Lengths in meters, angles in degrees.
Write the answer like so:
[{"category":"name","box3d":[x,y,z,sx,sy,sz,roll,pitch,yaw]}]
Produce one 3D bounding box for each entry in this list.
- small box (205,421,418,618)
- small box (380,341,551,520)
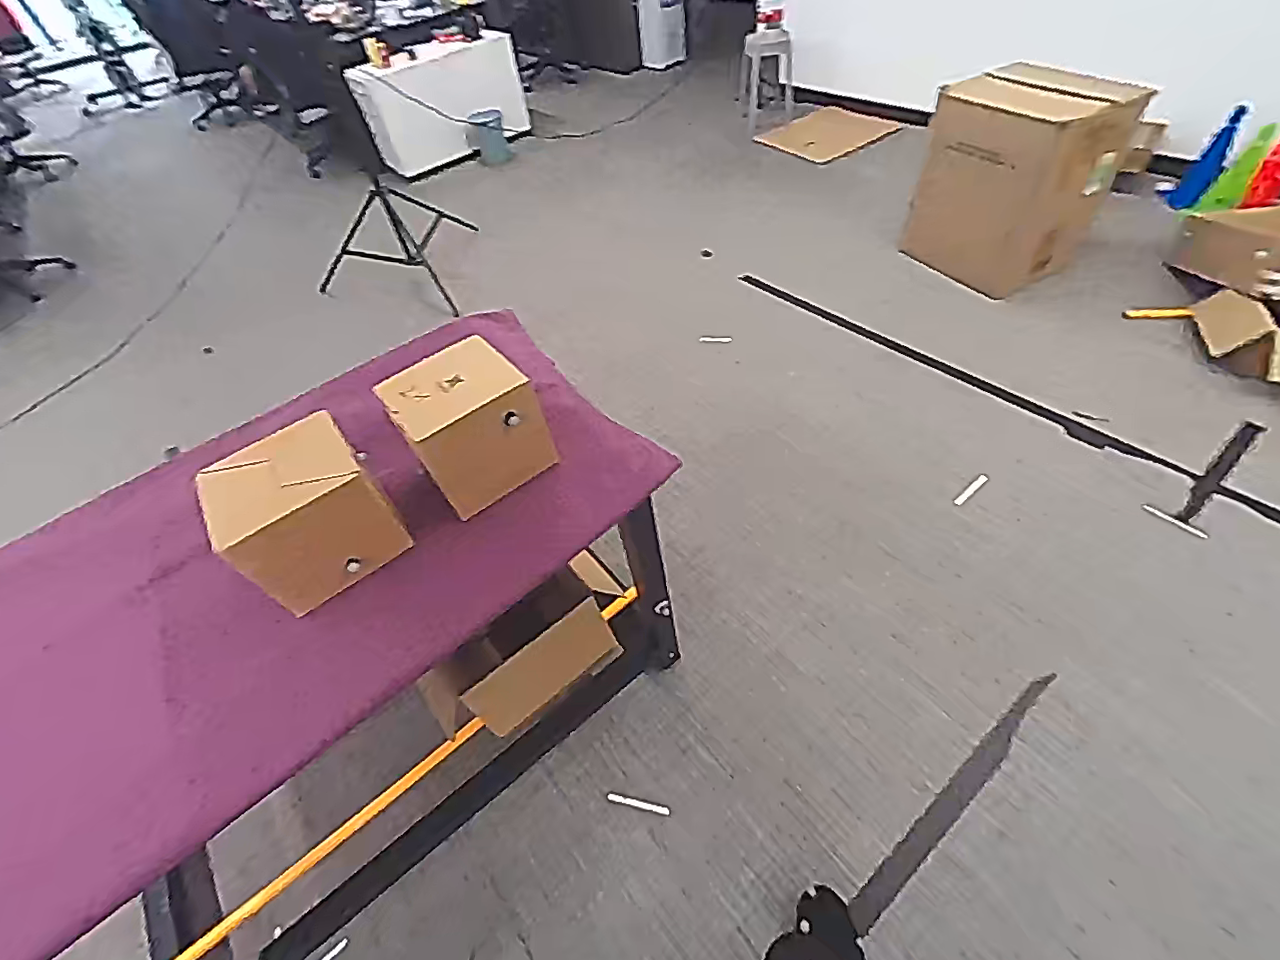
[{"category":"small box","box3d":[-0.450,0.049,0.747,0.179,0.176,0.168,-35,53,-19]},{"category":"small box","box3d":[-0.252,-0.076,0.824,0.179,0.176,0.168,-34,51,-20]}]
